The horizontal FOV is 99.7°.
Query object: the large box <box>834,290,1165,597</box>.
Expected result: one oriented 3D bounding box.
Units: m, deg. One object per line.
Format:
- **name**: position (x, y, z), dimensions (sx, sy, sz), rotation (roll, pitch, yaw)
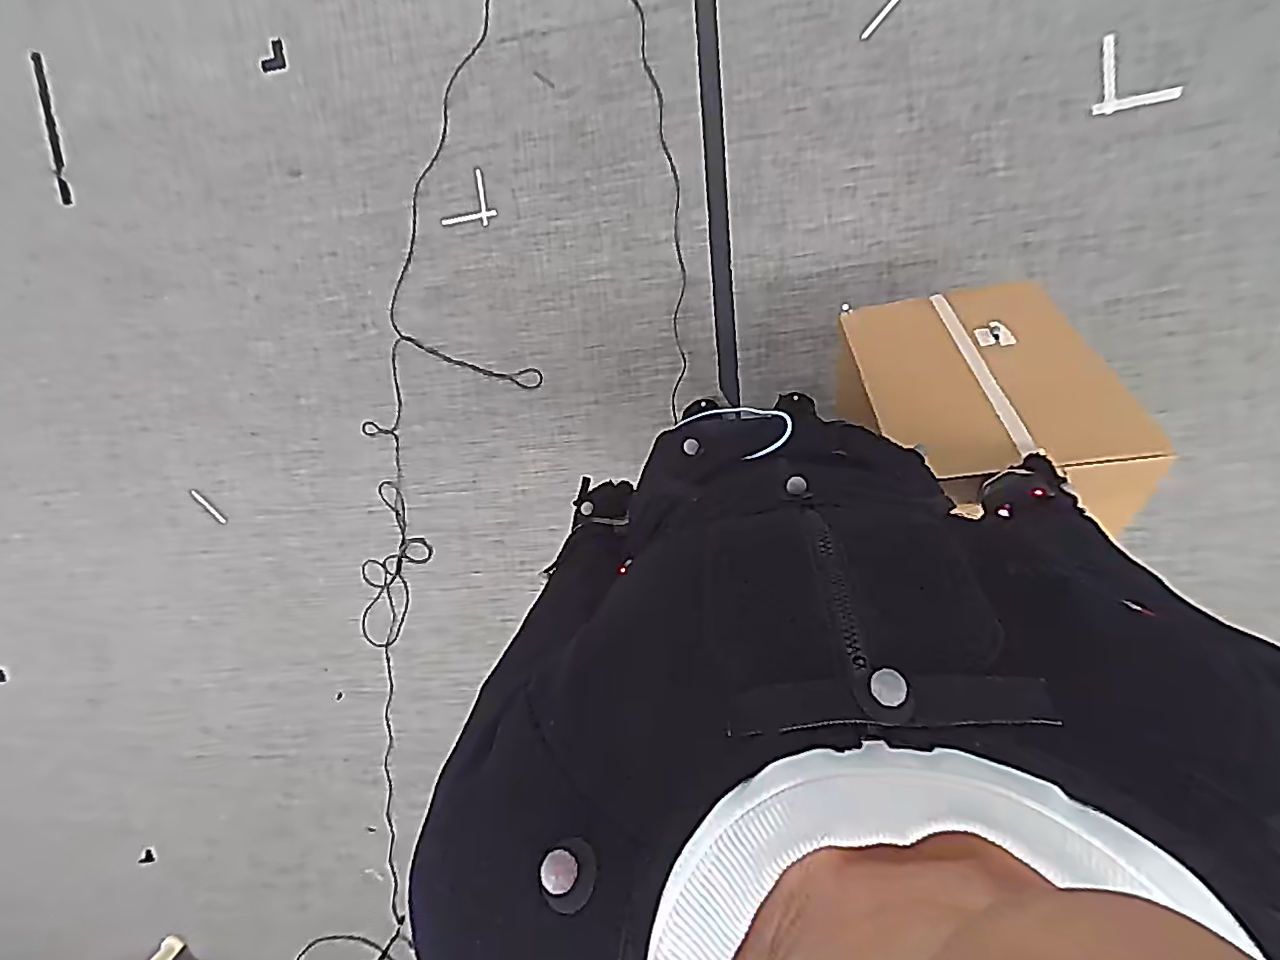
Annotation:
- **large box**: position (0.533, -0.060, 0.922), dimensions (0.320, 0.408, 0.320), rotation (-6, 137, 10)
